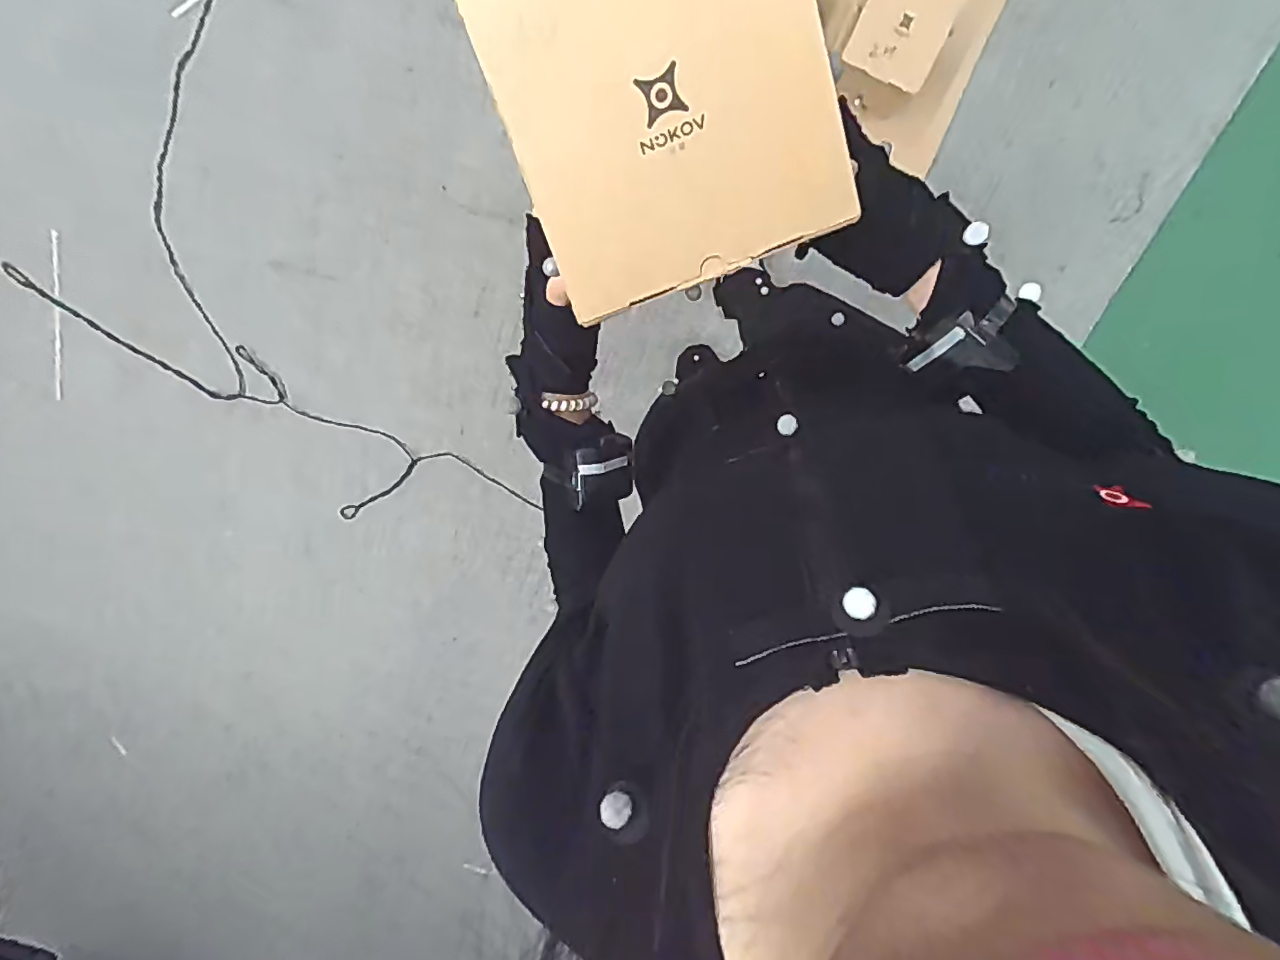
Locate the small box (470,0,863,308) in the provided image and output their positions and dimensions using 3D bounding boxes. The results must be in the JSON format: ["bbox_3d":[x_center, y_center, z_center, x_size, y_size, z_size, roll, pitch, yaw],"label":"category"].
[{"bbox_3d":[0.020,-0.228,0.352,0.168,0.176,0.179,-18,109,11],"label":"small box"}]

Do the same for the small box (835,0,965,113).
[{"bbox_3d":[0.499,-0.878,1.076,0.168,0.176,0.179,23,111,-4],"label":"small box"}]
